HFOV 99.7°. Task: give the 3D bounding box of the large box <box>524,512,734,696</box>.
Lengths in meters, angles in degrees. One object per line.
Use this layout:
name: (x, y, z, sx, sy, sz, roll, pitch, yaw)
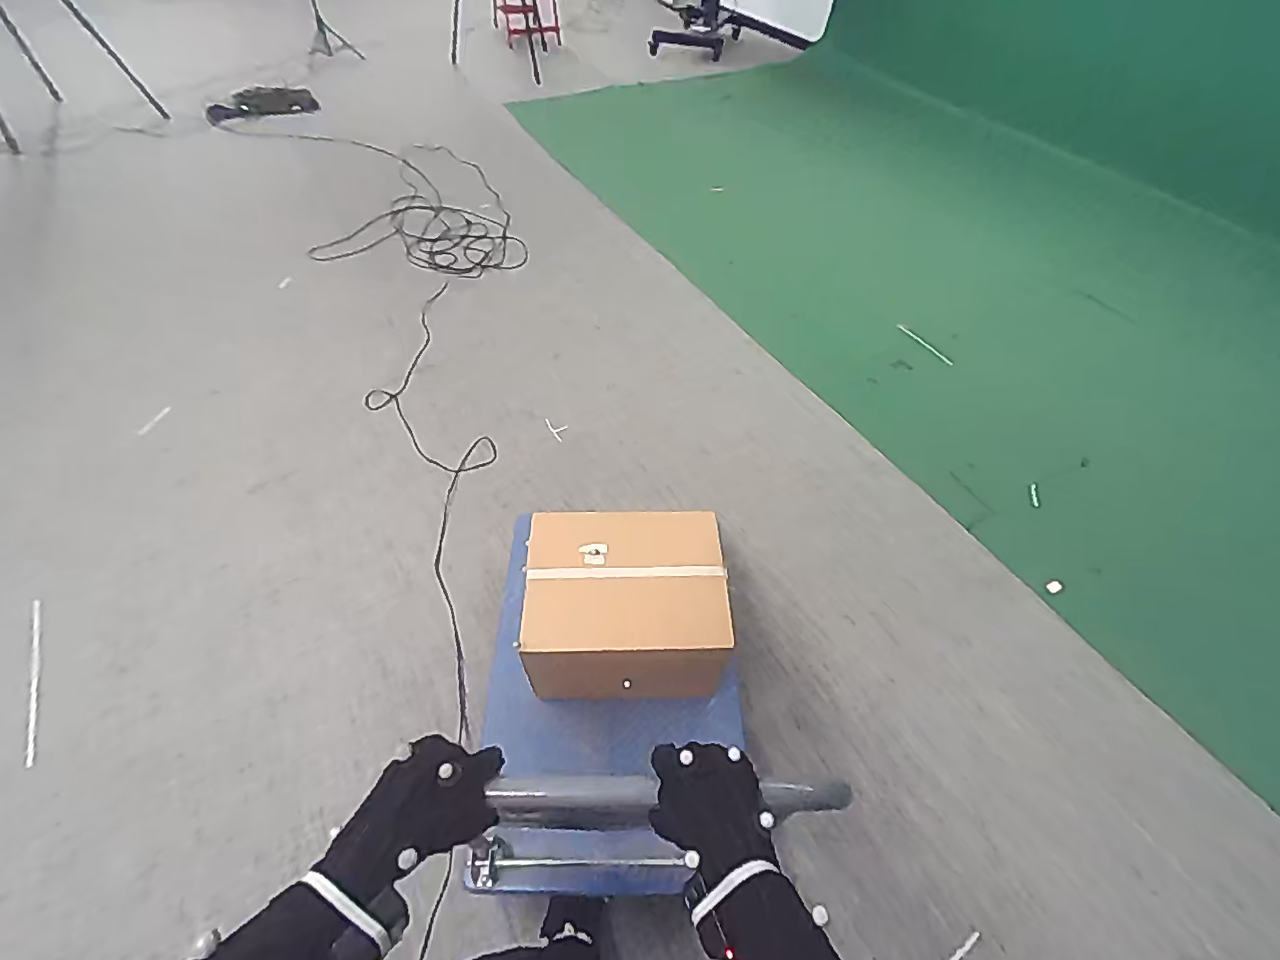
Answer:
large box: (-0.028, 0.287, 1.224, 0.408, 0.320, 0.320, -1, 52, -2)
